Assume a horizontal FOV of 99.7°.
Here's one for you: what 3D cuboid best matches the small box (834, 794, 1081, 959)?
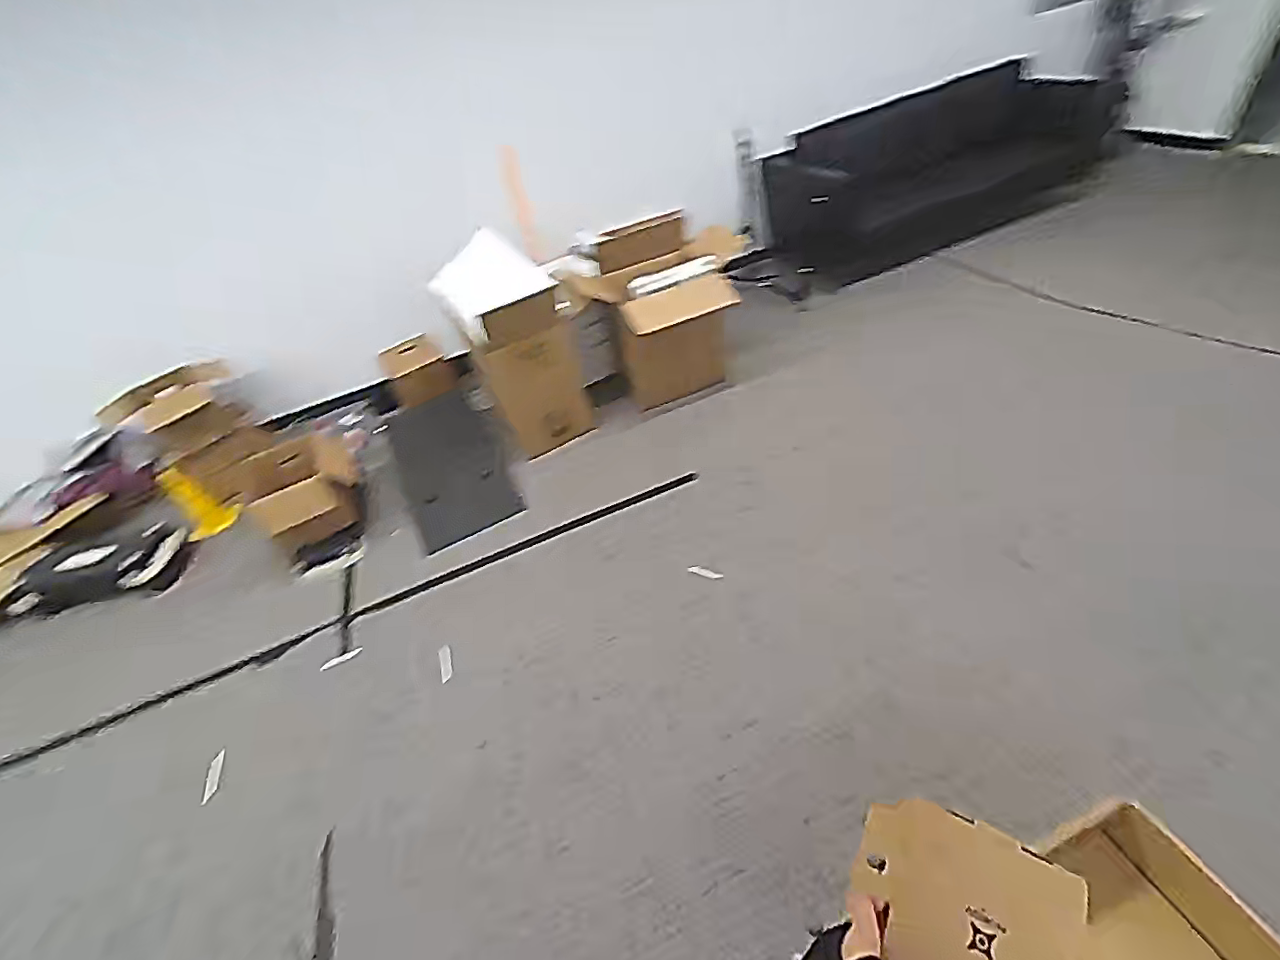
[{"bbox_3d":[0.323,0.471,0.573,0.168,0.176,0.179,21,58,17],"label":"small box"}]
